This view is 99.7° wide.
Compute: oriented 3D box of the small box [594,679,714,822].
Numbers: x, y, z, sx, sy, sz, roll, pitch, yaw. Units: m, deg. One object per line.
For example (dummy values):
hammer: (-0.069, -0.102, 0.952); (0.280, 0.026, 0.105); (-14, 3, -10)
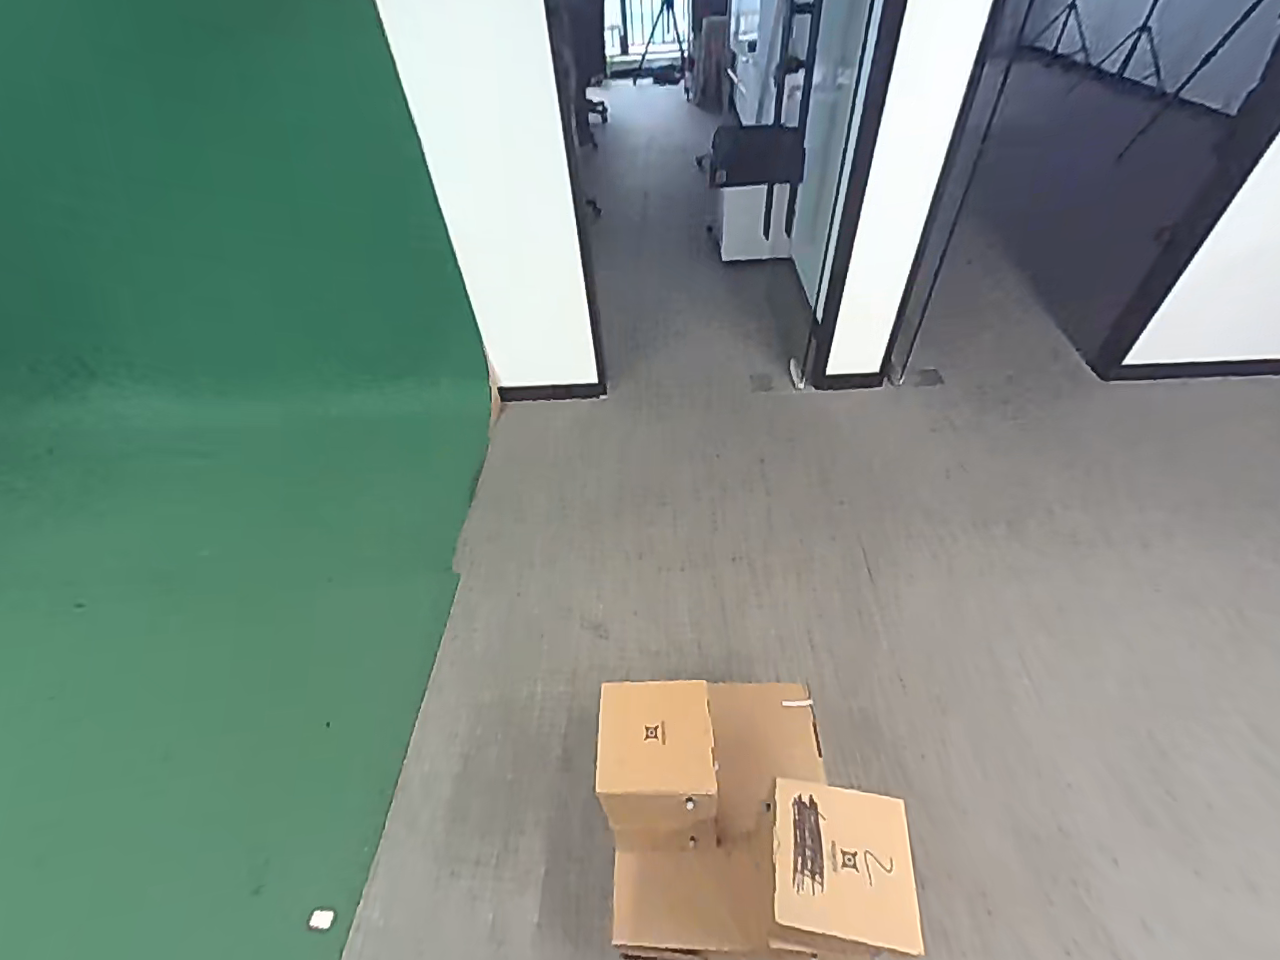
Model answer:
small box: (0.027, 0.442, 0.881); (0.179, 0.176, 0.168); (-2, 44, 3)

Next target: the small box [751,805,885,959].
small box: (0.272, 0.655, 0.873); (0.168, 0.176, 0.179); (2, 45, 6)

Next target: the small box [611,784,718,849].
small box: (0.045, 0.560, 0.992); (0.179, 0.176, 0.168); (-3, 43, 3)
